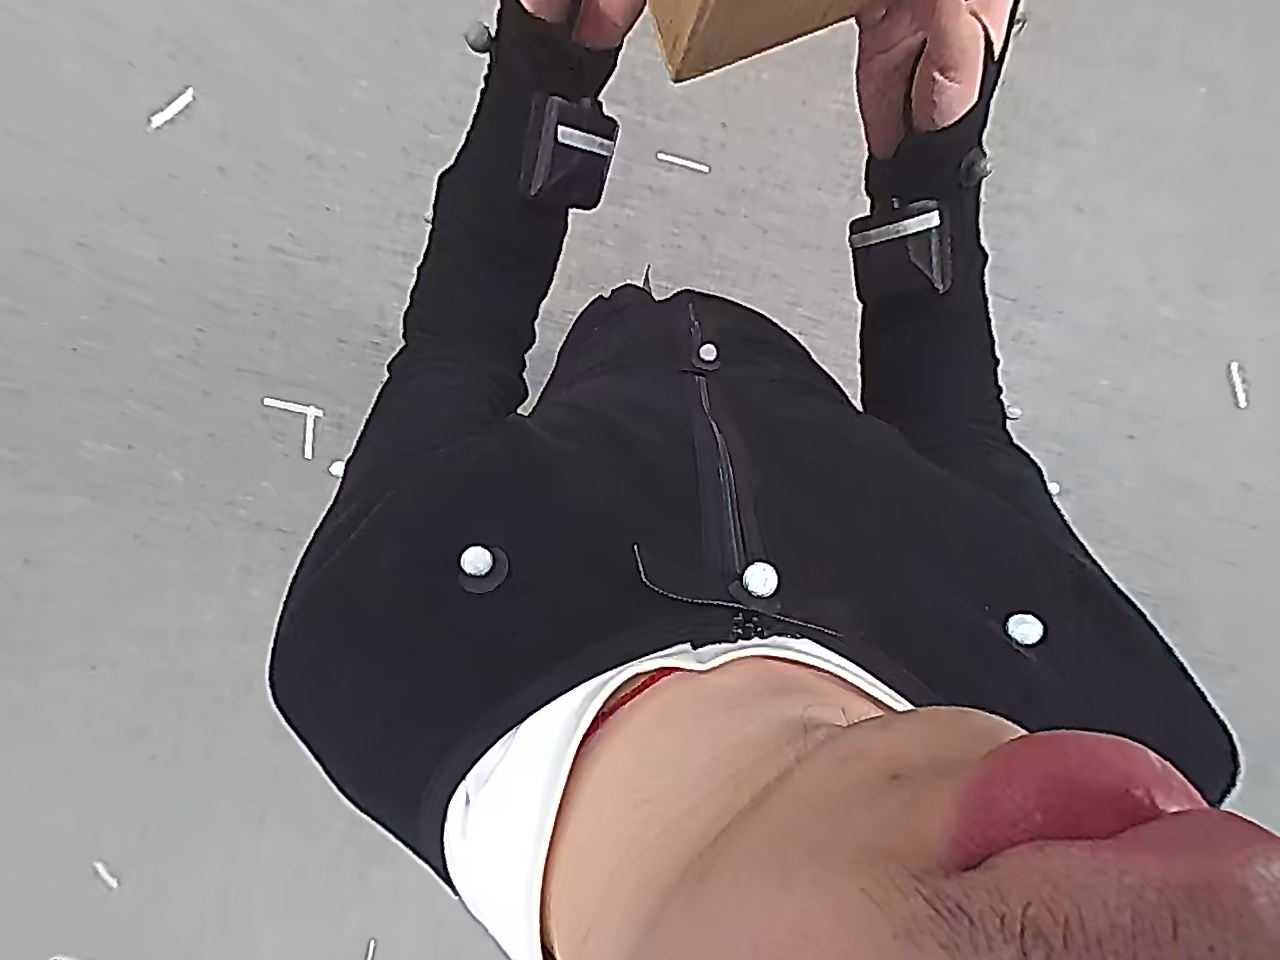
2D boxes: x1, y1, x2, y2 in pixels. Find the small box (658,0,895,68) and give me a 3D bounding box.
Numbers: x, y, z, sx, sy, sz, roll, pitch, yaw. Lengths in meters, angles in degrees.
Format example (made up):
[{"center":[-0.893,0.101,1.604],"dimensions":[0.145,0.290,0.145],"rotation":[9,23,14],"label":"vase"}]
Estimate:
[{"center":[0.080,-0.296,0.193],"dimensions":[0.179,0.176,0.168],"rotation":[-21,107,0],"label":"small box"}]
